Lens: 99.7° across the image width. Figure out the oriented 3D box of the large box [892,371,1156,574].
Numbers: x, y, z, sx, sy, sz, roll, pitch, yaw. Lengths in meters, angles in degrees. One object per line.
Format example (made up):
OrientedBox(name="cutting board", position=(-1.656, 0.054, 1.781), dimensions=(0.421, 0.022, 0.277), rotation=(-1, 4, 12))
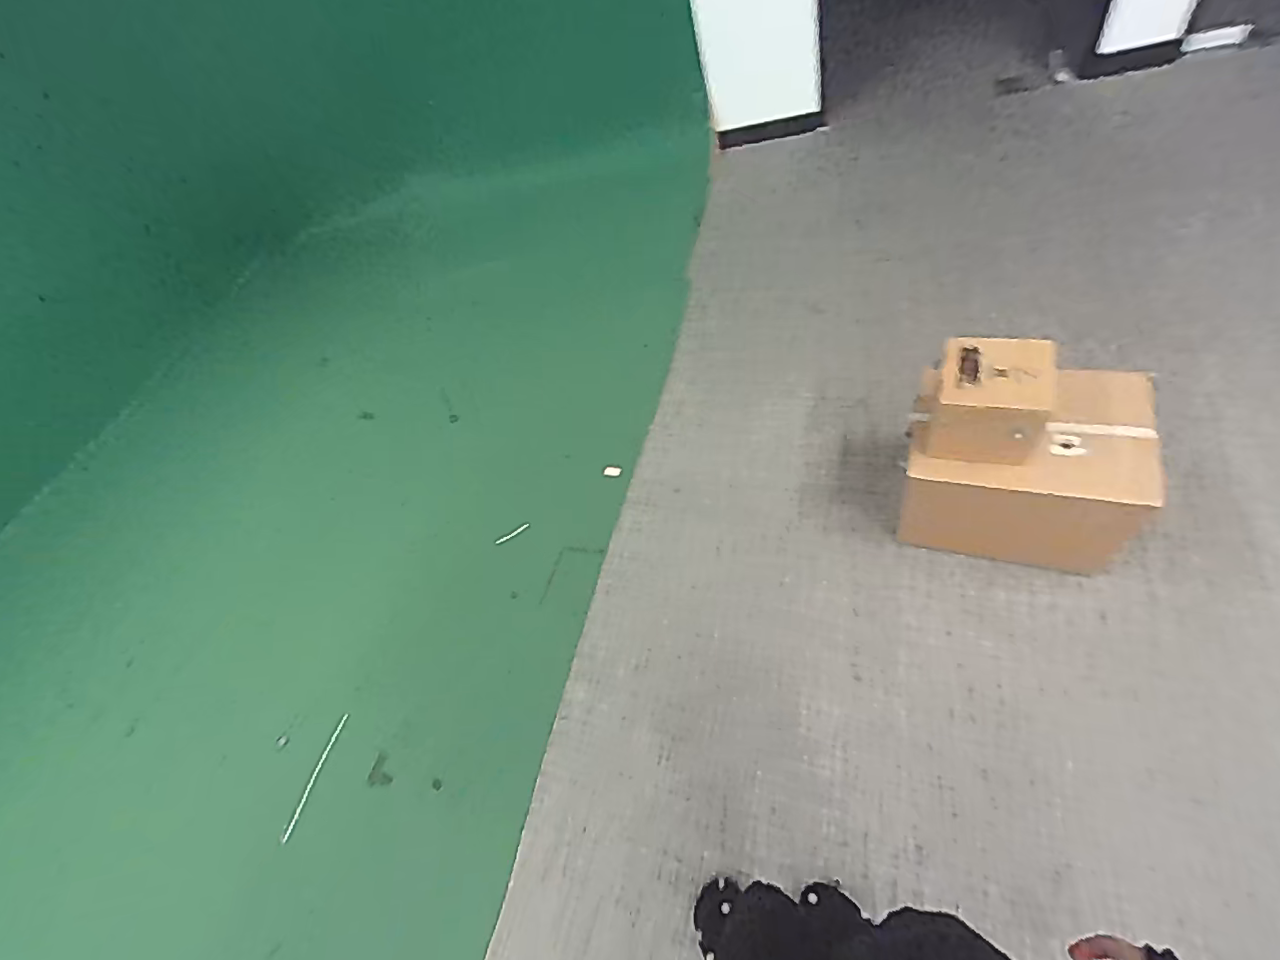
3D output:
OrientedBox(name="large box", position=(0.805, -0.019, 1.205), dimensions=(0.408, 0.320, 0.320), rotation=(8, 62, 24))
